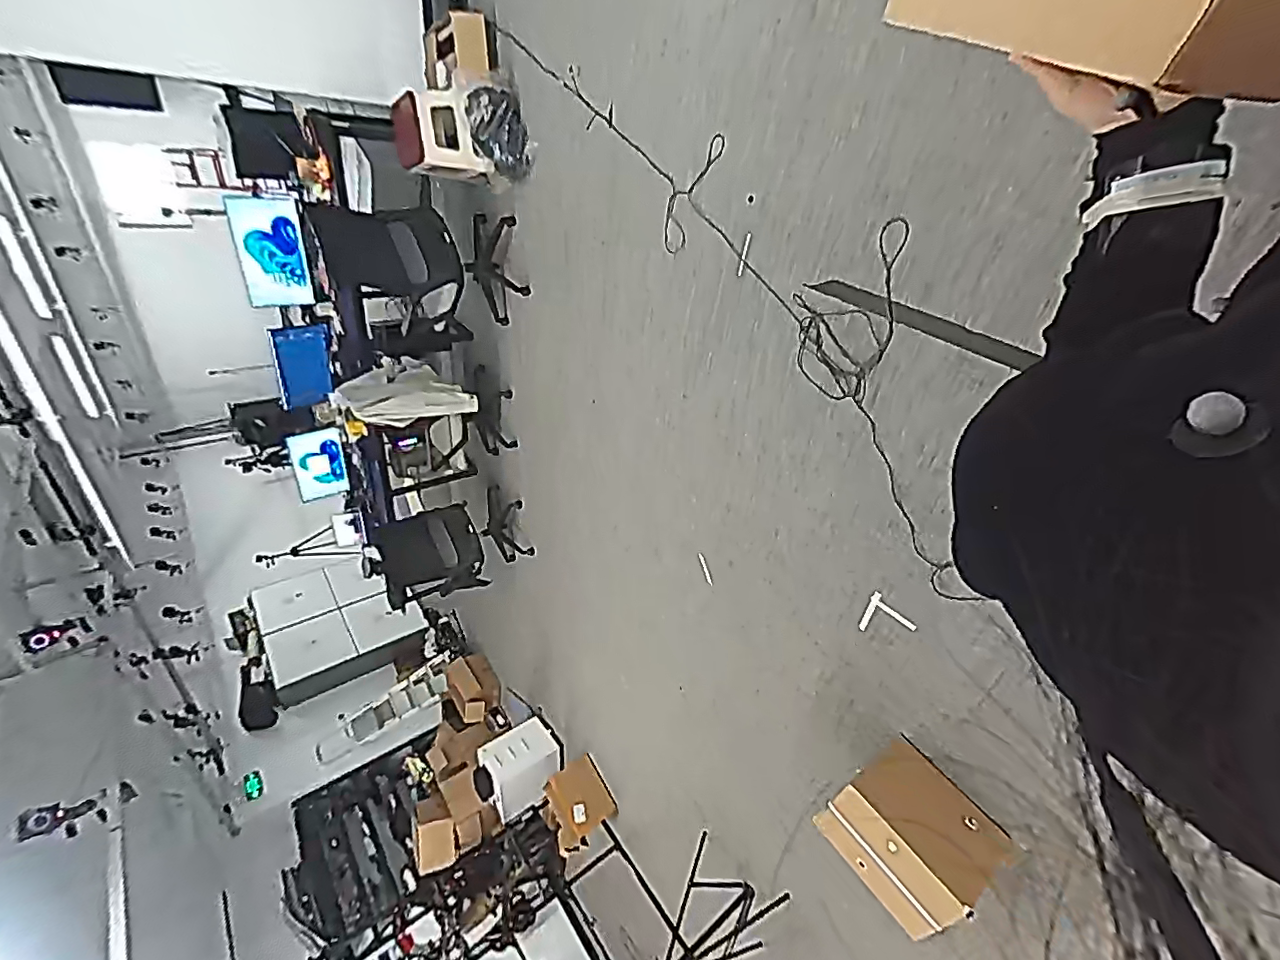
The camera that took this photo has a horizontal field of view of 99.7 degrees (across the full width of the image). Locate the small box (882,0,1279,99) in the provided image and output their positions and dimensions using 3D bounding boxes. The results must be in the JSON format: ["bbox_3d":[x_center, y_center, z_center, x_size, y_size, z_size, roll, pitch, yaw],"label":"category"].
[{"bbox_3d":[0.278,-0.315,0.280,0.179,0.176,0.168,54,148,36],"label":"small box"}]
